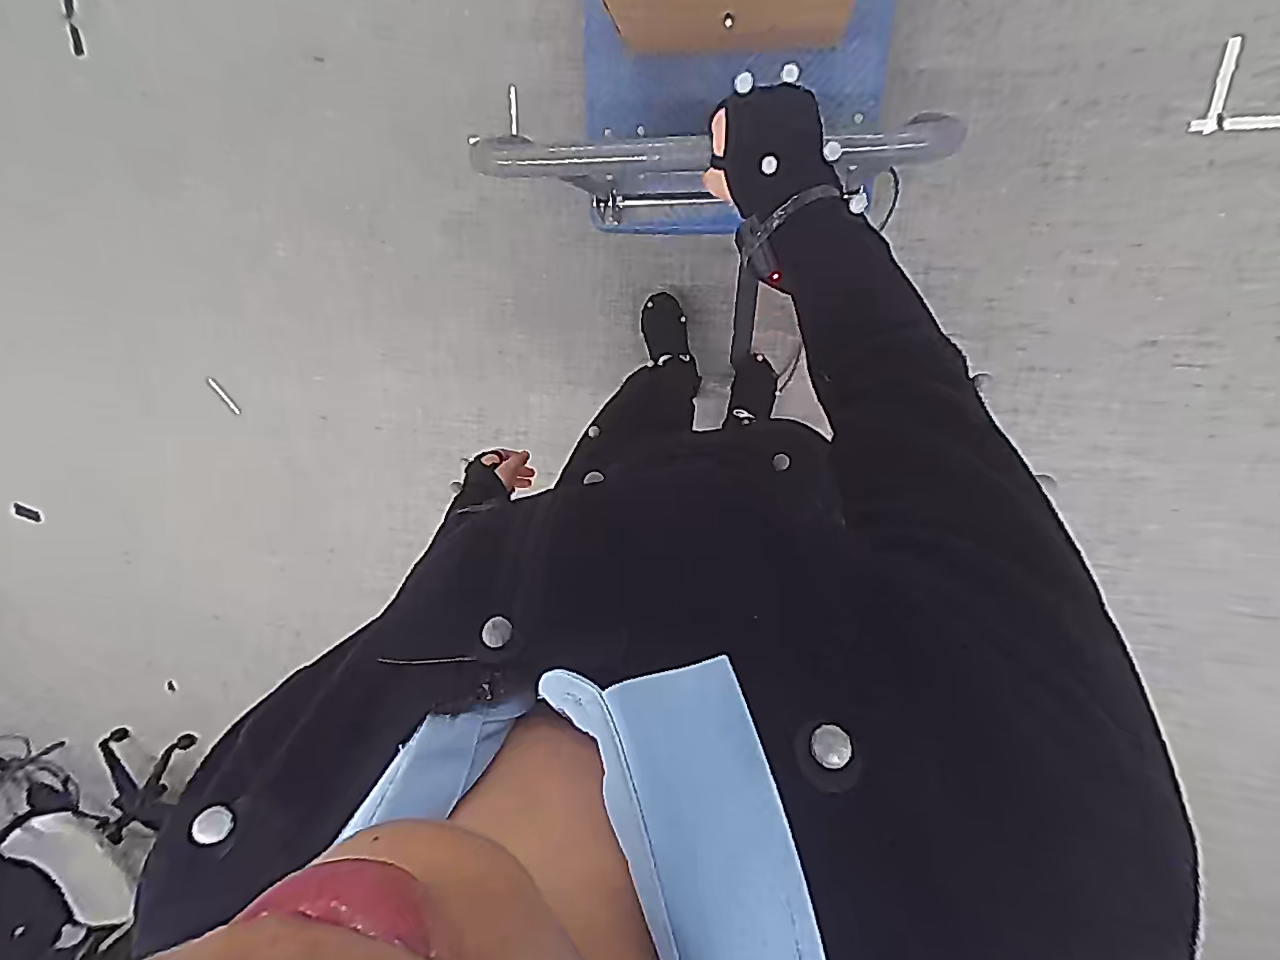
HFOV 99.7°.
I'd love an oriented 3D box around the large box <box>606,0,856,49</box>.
[{"bbox_3d":[0.150,-0.921,0.836,0.408,0.320,0.320,5,108,11],"label":"large box"}]
